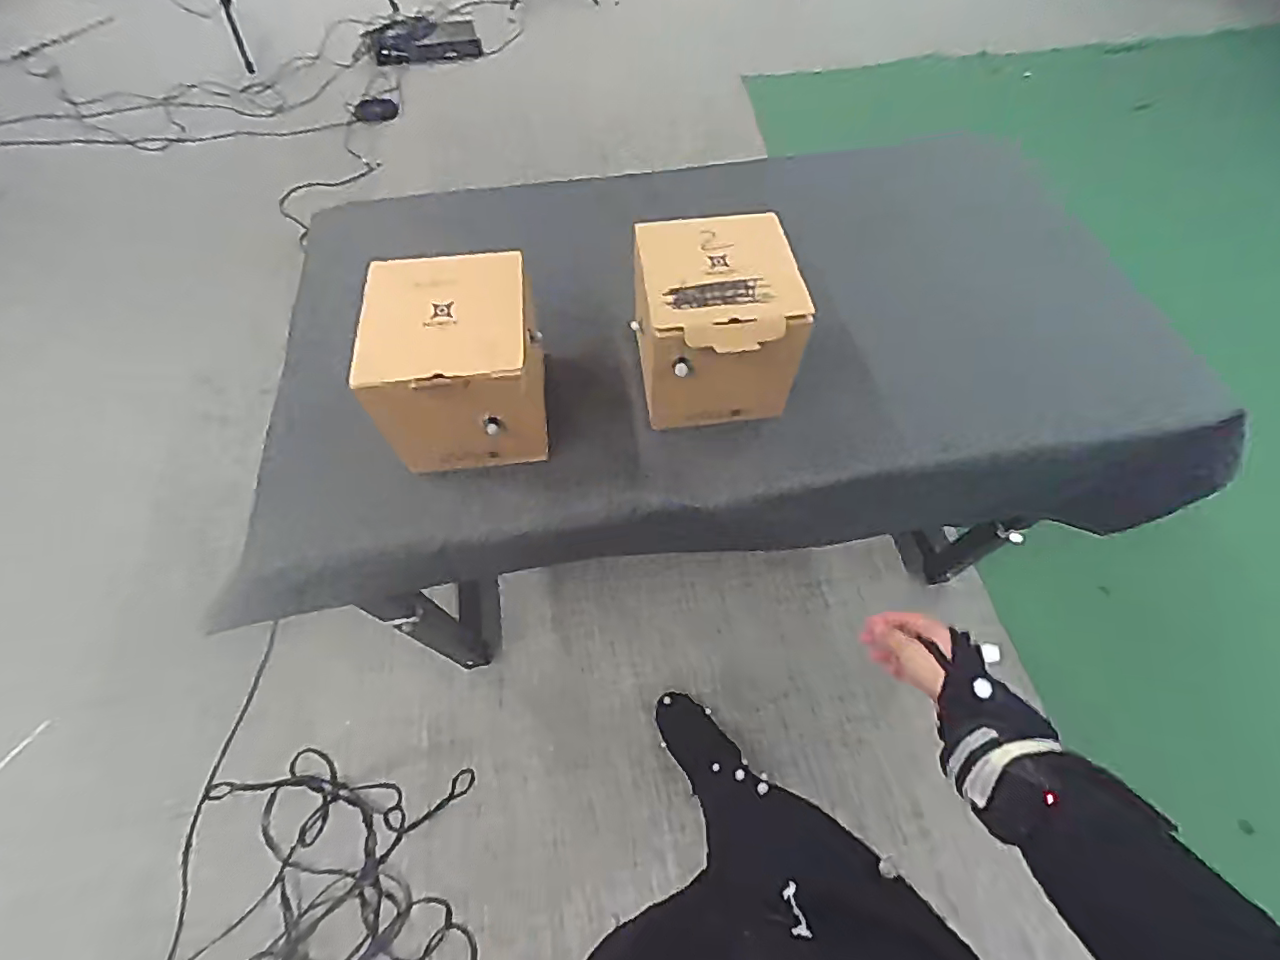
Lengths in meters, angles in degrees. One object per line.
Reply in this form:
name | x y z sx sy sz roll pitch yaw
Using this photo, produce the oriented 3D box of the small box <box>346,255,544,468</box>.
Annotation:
small box | -0.202 -0.125 0.614 0.168 0.176 0.179 -5 59 -5
